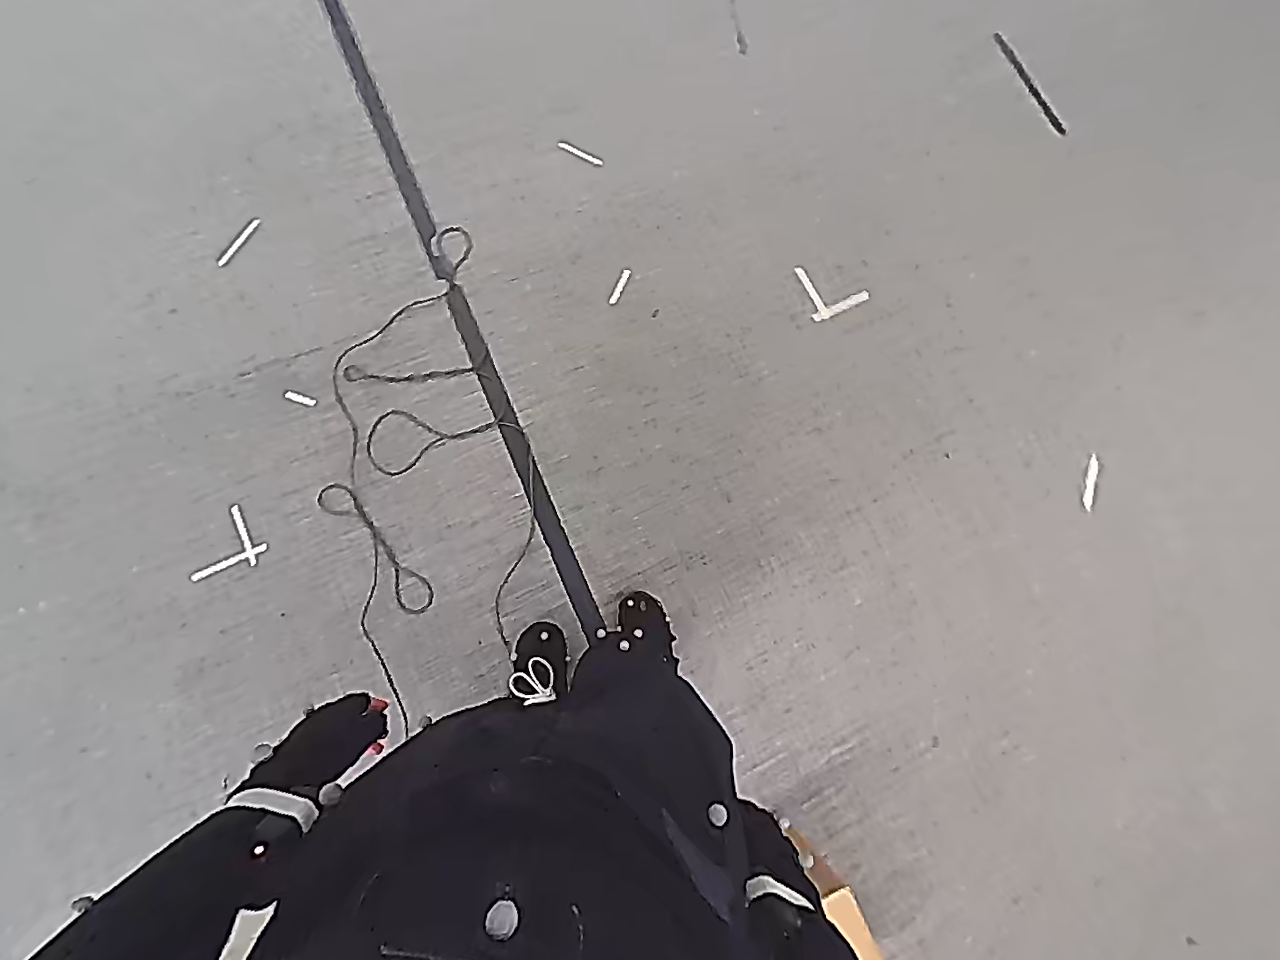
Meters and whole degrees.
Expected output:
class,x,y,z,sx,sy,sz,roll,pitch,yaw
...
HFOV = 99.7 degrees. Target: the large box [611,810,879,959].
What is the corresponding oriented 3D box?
class,x,y,z,sx,sy,sz,roll,pitch,yaw
large box,0.195,0.890,0.968,0.408,0.320,0.320,-23,82,-10
